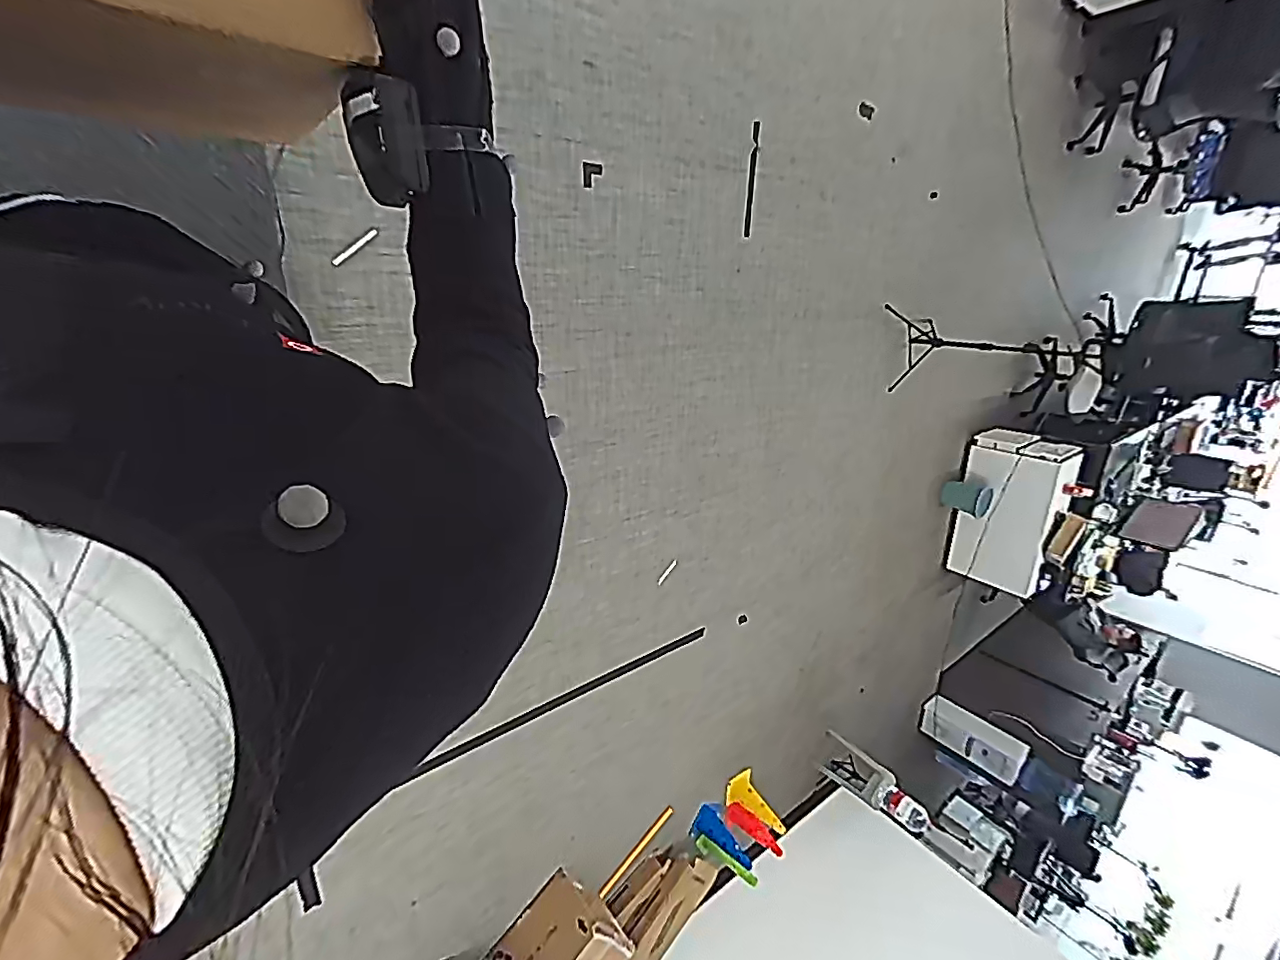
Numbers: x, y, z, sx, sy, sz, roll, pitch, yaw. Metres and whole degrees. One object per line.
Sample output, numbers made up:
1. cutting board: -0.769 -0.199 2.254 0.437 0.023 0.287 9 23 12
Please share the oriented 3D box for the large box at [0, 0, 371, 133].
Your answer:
1. large box: -0.405 -0.398 0.261 0.408 0.320 0.320 -15 118 -36
